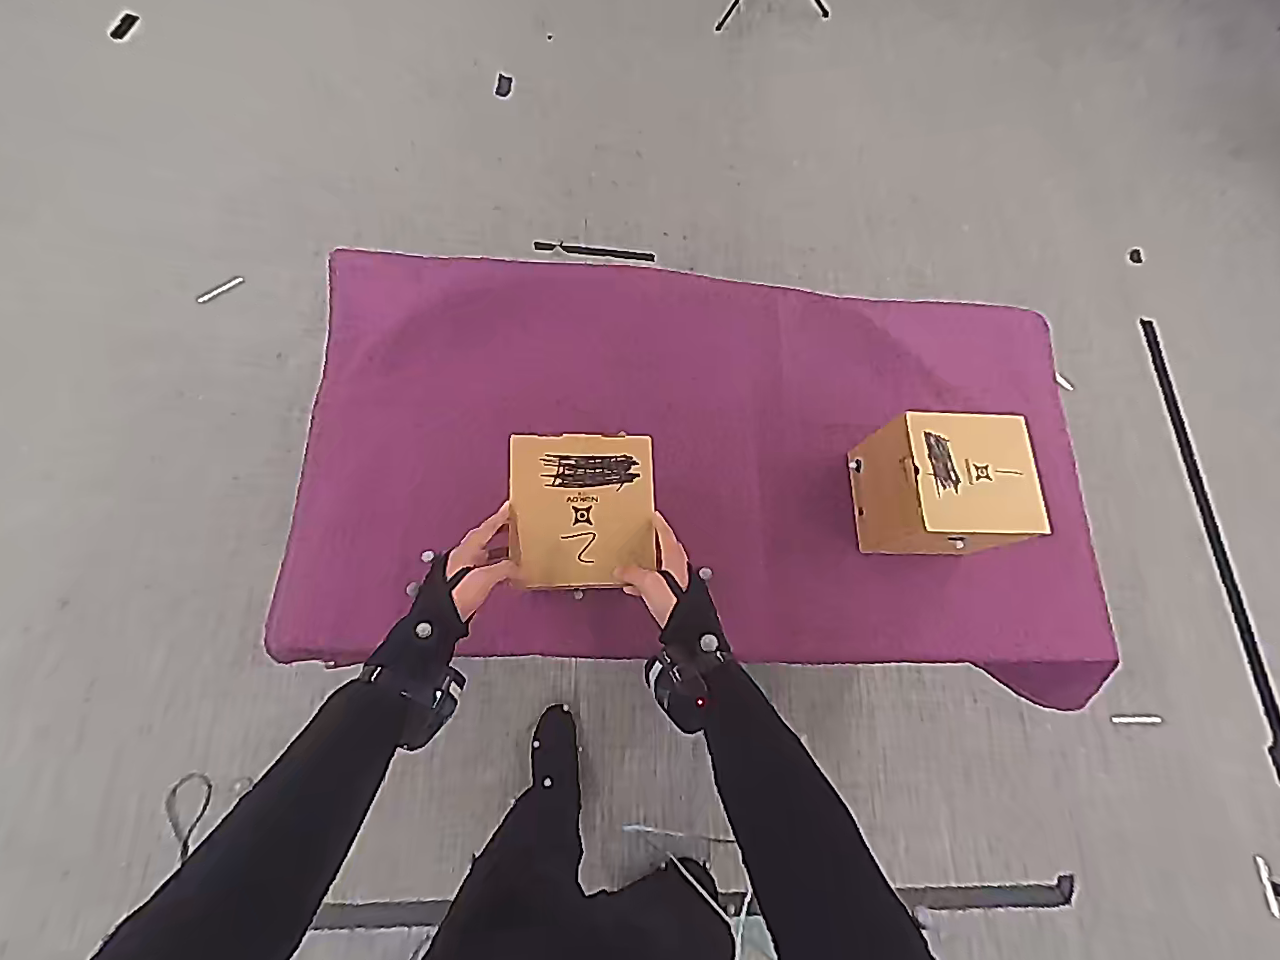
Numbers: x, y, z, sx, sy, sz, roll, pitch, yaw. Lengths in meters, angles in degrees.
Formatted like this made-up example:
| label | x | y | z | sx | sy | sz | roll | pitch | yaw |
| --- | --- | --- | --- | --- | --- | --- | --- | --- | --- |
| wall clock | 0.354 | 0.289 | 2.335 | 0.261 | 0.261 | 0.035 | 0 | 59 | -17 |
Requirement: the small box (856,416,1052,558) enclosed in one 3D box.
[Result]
| label | x | y | z | sx | sy | sz | roll | pitch | yaw |
| --- | --- | --- | --- | --- | --- | --- | --- | --- | --- |
| small box | 0.431 | 0.019 | 0.779 | 0.179 | 0.176 | 0.168 | 2 | 73 | -6 |
